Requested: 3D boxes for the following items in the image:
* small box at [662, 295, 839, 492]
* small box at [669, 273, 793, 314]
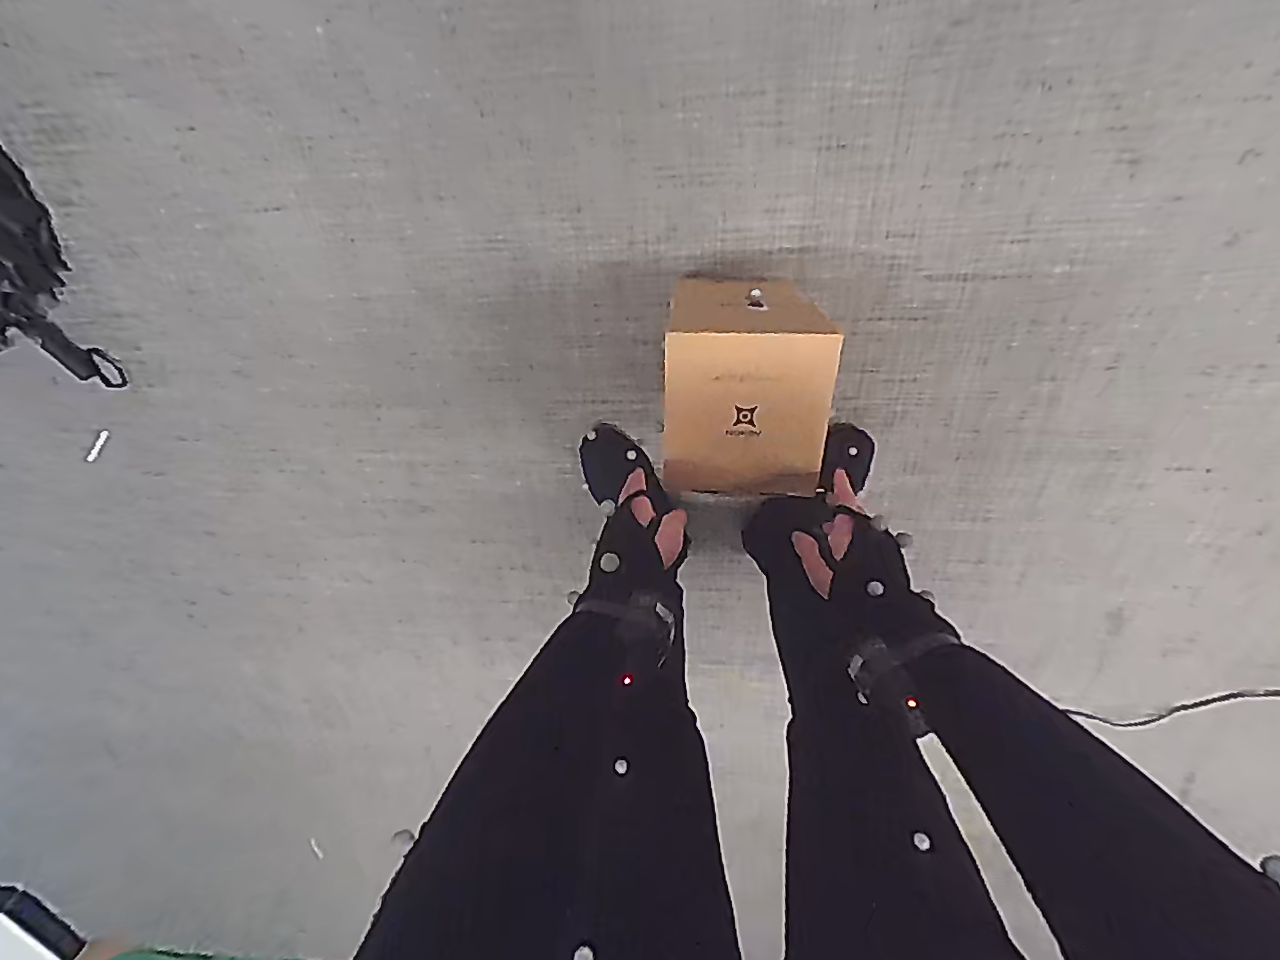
[{"bbox_3d":[0.113,-0.104,0.619,0.168,0.176,0.179,2,118,5],"label":"small box"},{"bbox_3d":[0.125,-0.182,0.761,0.168,0.176,0.179,4,120,5],"label":"small box"}]
